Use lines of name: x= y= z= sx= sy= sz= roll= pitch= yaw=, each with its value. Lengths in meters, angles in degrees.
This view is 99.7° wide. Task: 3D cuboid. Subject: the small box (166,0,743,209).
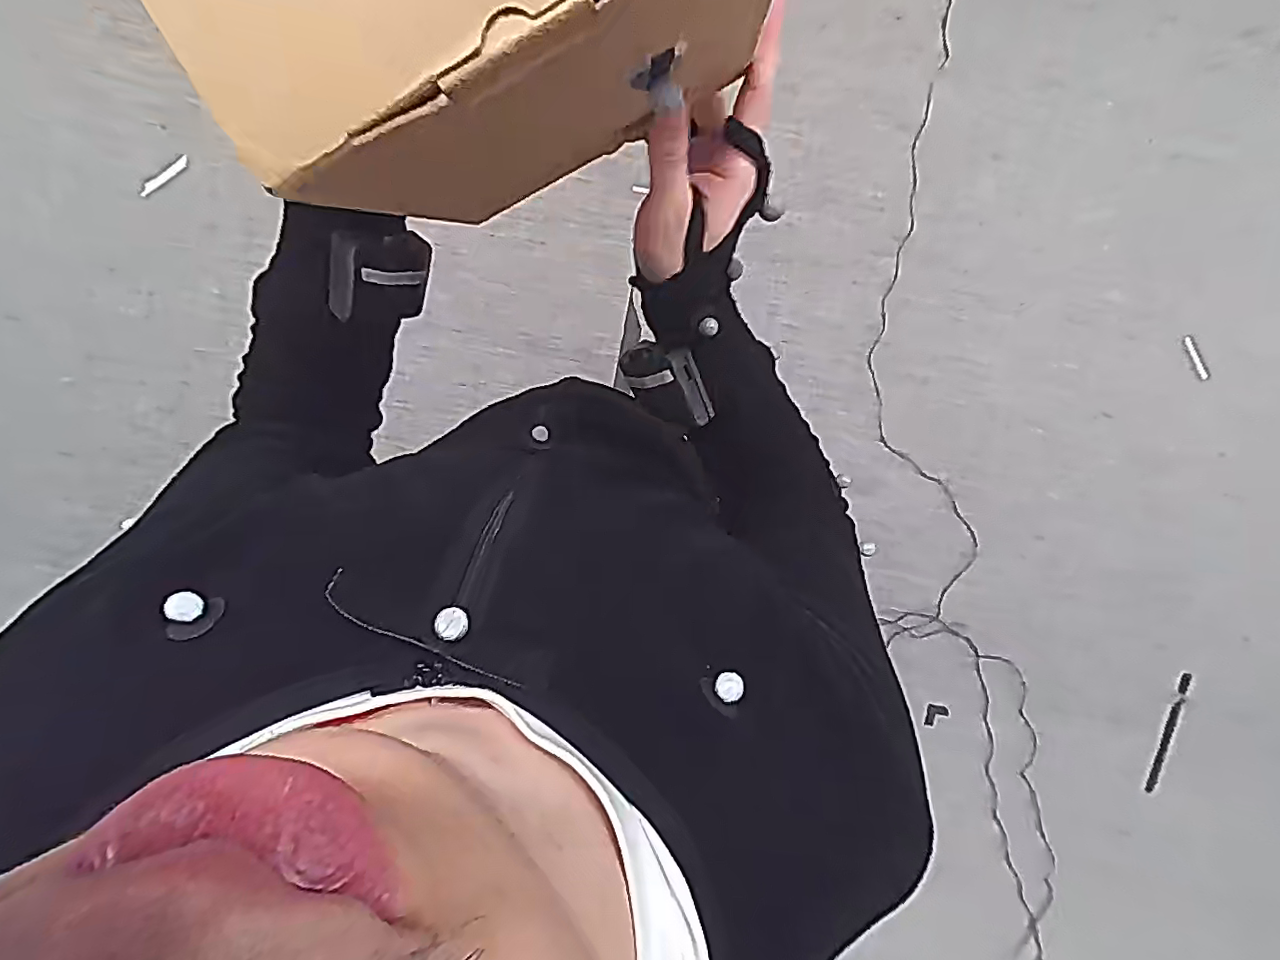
small box: x=-0.064 y=-0.220 z=0.197 sx=0.168 sy=0.176 sz=0.179 roll=-22 pitch=109 yaw=12
